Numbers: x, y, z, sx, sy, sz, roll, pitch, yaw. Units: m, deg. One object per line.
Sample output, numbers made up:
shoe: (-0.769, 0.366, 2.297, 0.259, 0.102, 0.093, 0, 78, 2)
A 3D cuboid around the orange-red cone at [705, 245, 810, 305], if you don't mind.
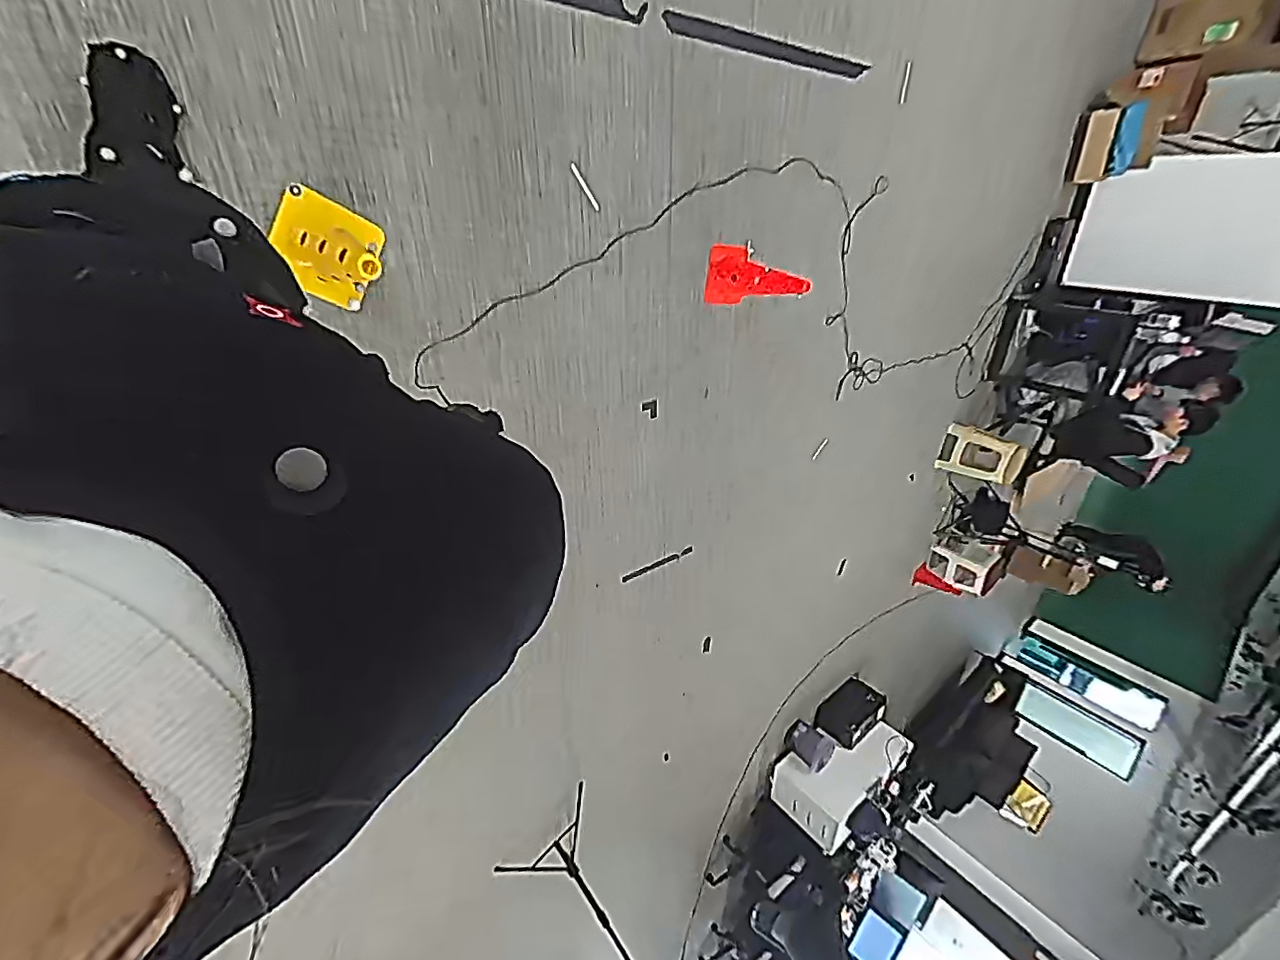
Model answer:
orange-red cone: (0.421, -0.680, 1.843, 0.199, 0.360, 0.198, -12, 118, -37)
